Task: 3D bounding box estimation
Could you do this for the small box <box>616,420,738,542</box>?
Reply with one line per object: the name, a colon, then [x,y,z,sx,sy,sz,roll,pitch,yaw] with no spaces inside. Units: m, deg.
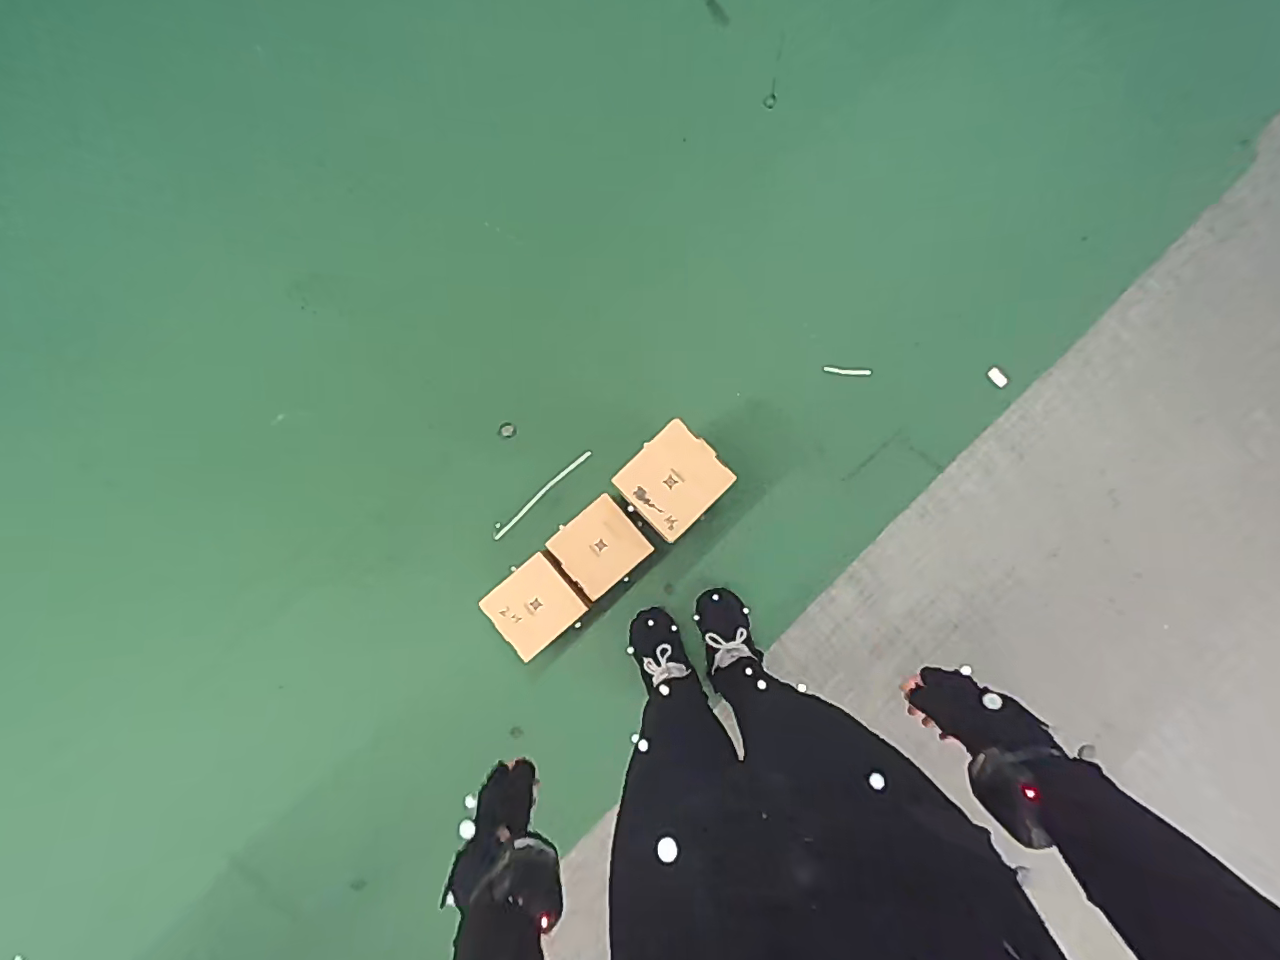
small box: [0.067,0.007,1.091,0.179,0.176,0.168,-44,86,-4]
